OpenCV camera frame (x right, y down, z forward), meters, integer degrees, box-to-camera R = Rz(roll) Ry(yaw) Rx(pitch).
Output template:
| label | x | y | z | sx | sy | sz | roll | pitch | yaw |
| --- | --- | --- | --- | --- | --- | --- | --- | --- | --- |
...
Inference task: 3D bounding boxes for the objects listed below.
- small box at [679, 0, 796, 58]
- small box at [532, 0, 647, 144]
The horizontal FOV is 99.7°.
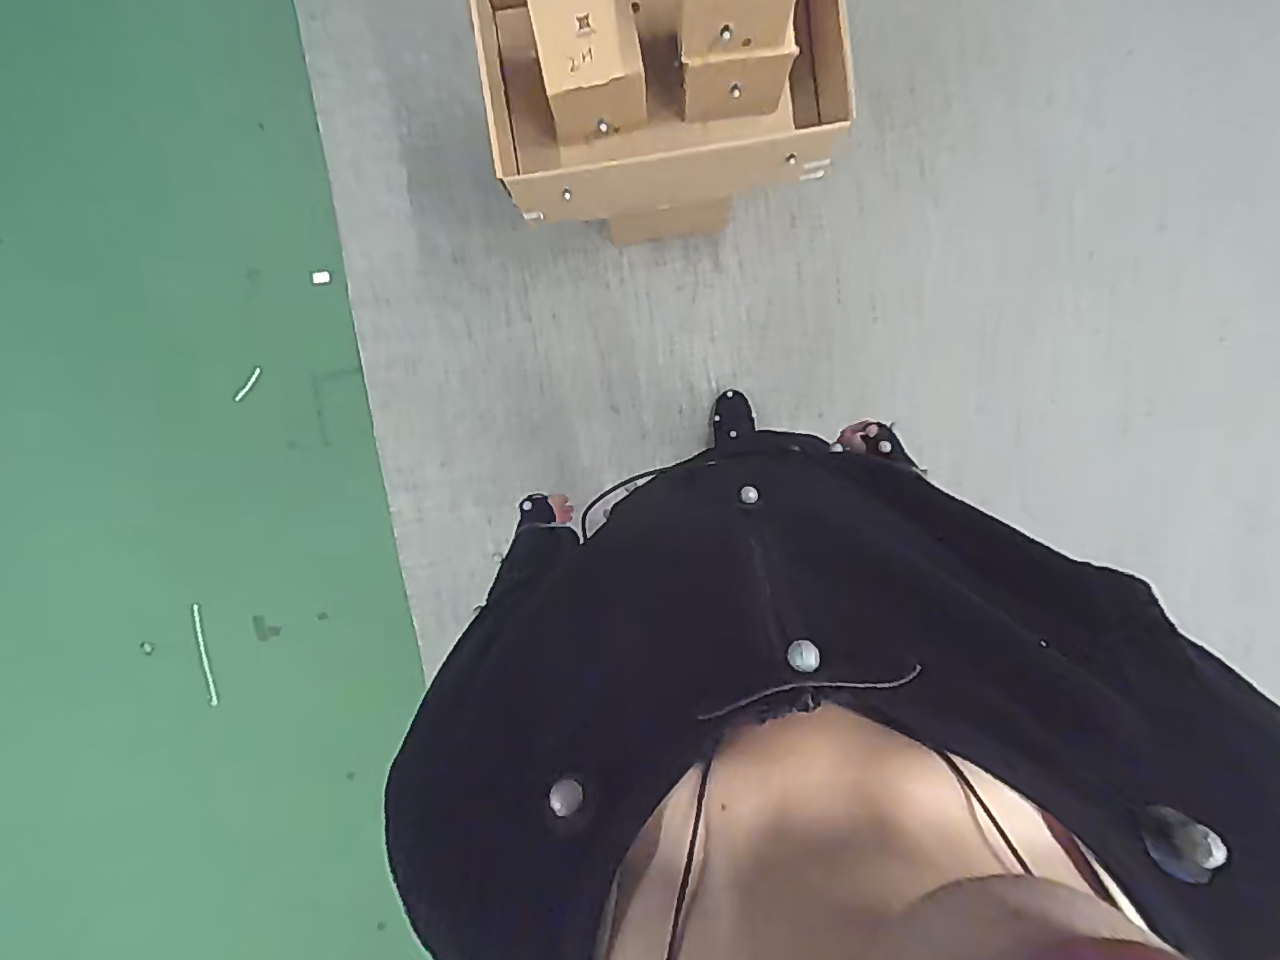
| label | x | y | z | sx | sy | sz | roll | pitch | yaw |
| --- | --- | --- | --- | --- | --- | --- | --- | --- | --- |
| small box | 0.138 | -0.764 | 0.780 | 0.168 | 0.176 | 0.179 | -5 | 94 | 4 |
| small box | -0.083 | -0.740 | 0.954 | 0.168 | 0.176 | 0.179 | -11 | 94 | 3 |
